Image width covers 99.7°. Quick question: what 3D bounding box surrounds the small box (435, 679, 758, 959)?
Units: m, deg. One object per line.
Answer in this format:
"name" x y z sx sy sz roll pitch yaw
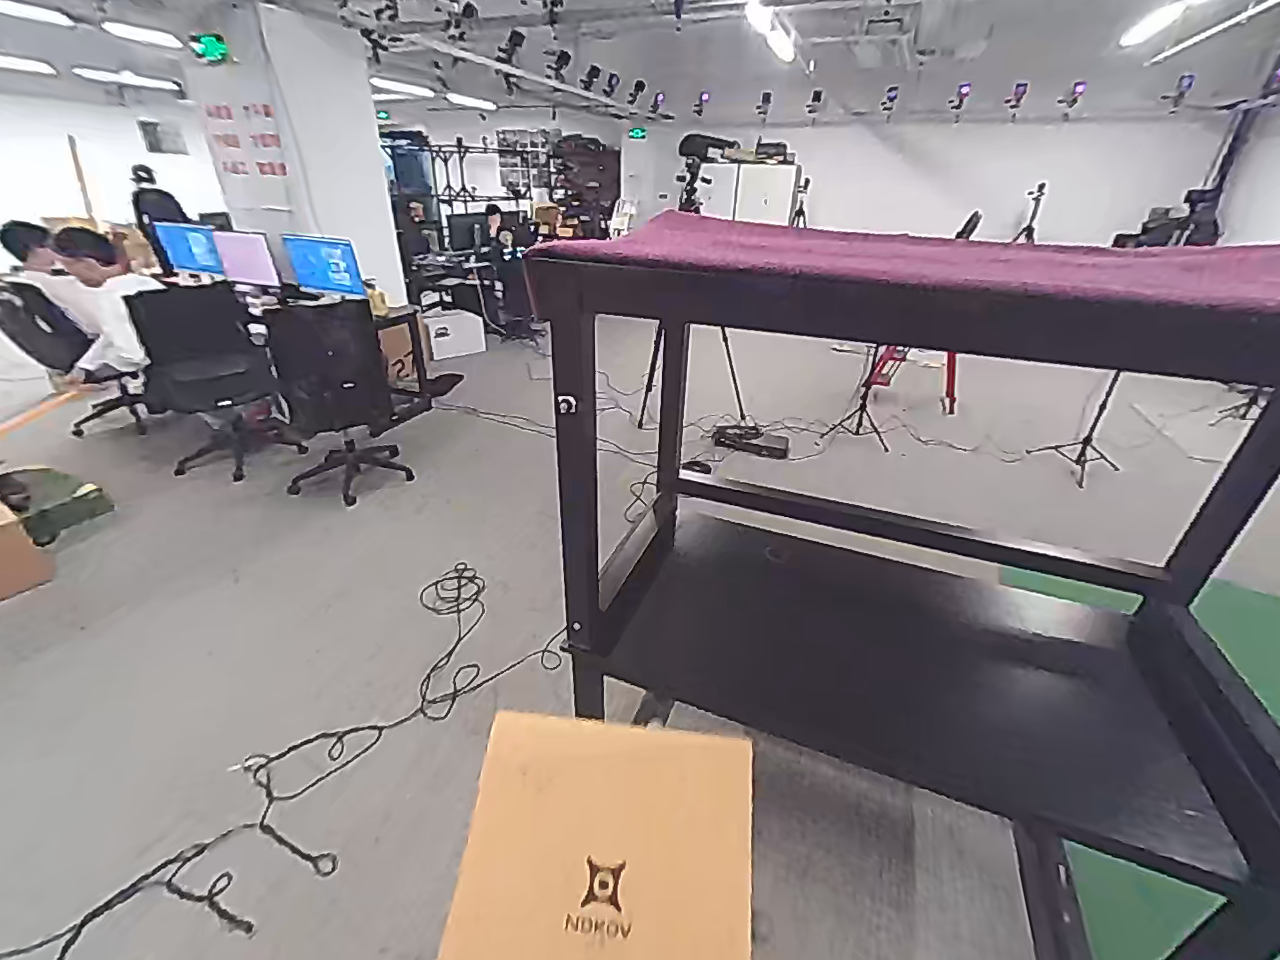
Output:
"small box" -0.017 0.251 0.366 0.168 0.176 0.179 5 59 4
